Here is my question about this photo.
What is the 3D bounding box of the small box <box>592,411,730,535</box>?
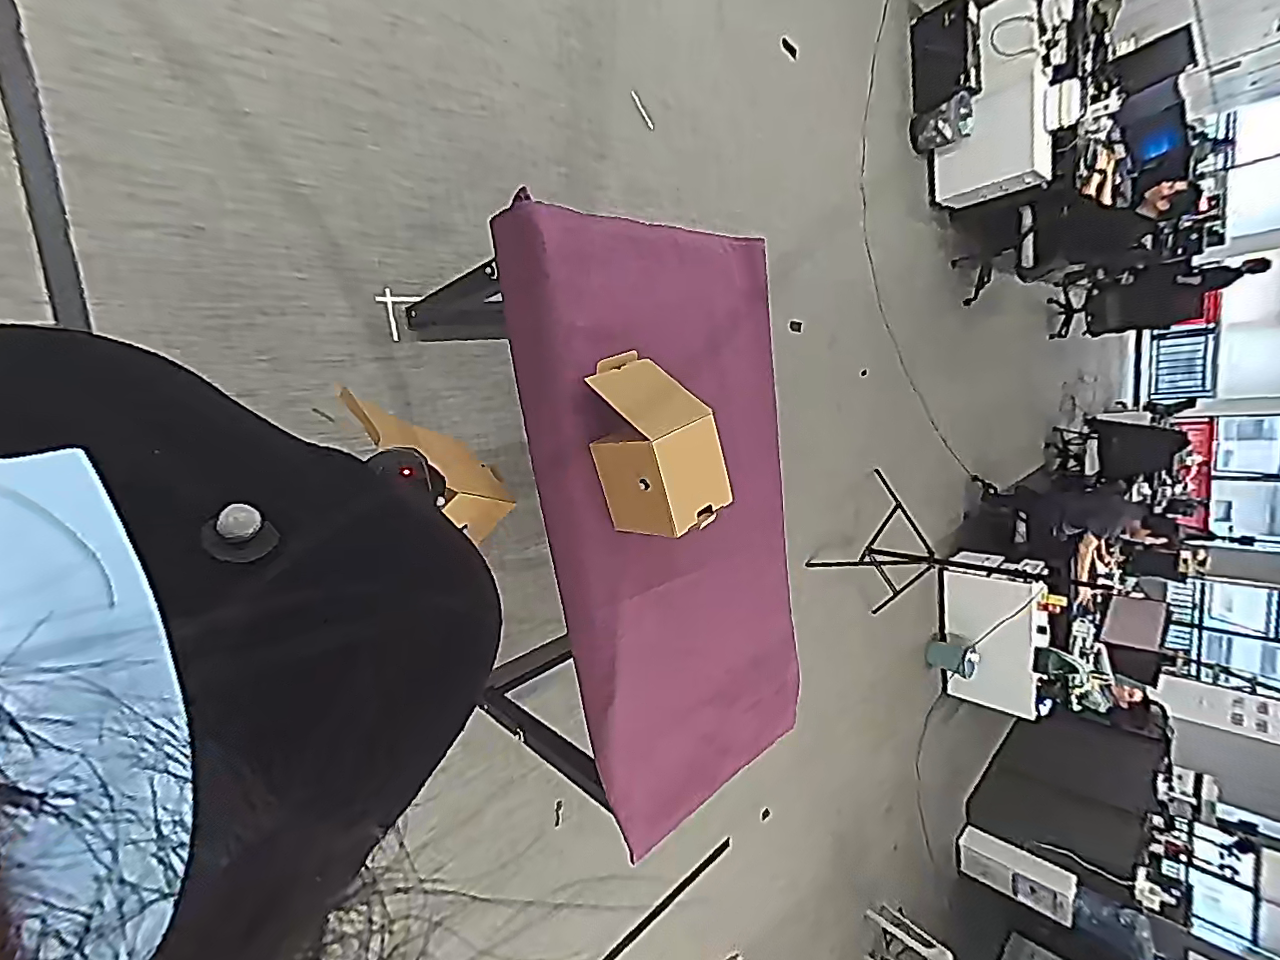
[{"bbox_3d":[0.035,-0.016,0.989,0.168,0.176,0.179,-27,109,-38],"label":"small box"}]
